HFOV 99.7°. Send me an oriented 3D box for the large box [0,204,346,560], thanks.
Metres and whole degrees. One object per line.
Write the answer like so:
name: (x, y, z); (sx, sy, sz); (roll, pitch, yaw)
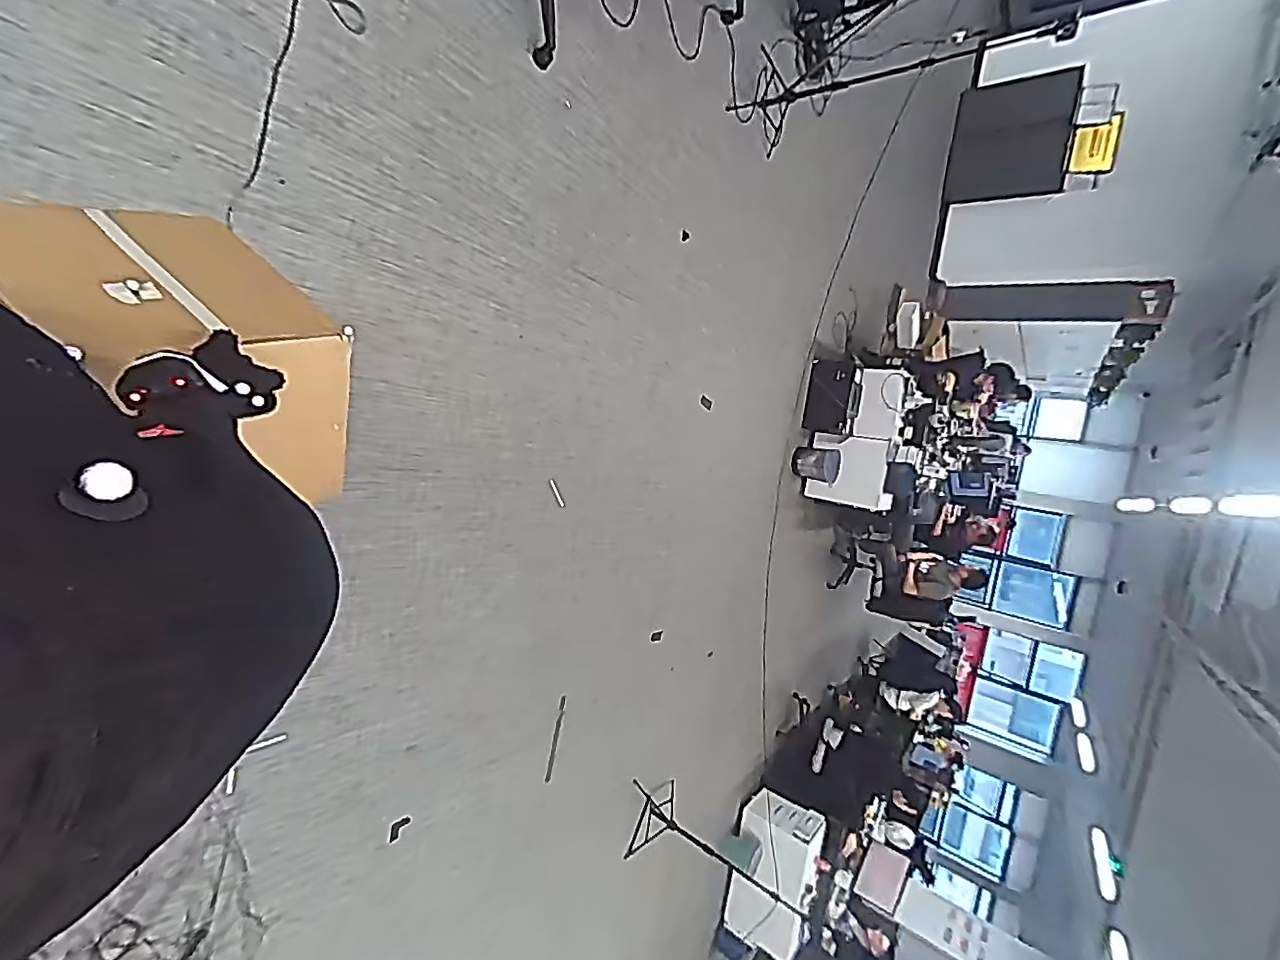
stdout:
large box: (-0.714, -0.160, 0.809); (0.320, 0.408, 0.320); (-30, 152, -50)
